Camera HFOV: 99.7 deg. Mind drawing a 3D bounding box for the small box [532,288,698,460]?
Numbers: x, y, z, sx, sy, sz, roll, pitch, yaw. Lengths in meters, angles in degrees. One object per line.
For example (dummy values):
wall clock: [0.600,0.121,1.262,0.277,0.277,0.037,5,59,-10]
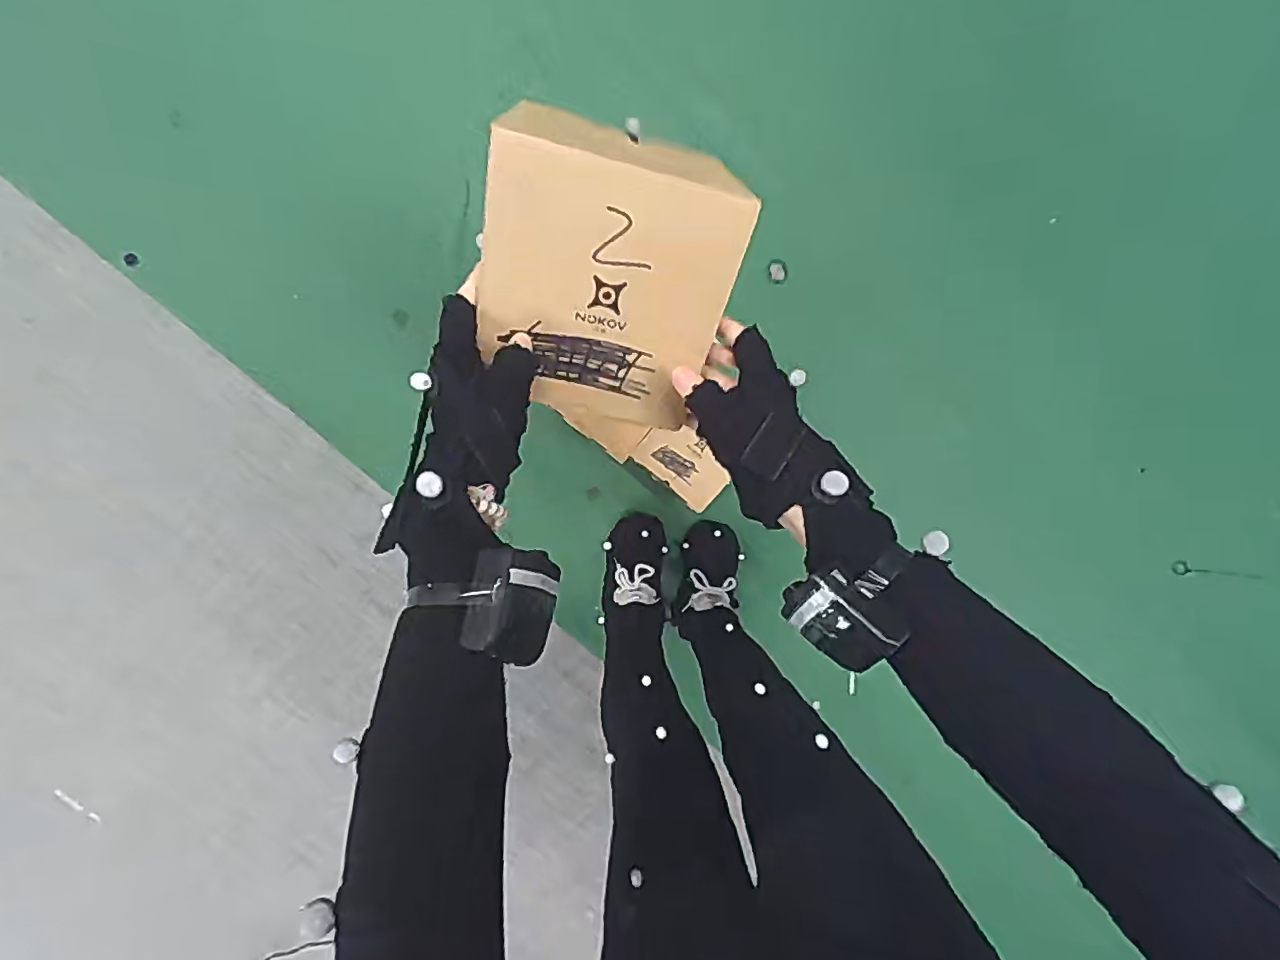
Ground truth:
small box: [-0.039,-0.158,0.817,0.168,0.176,0.179,37,97,-9]
